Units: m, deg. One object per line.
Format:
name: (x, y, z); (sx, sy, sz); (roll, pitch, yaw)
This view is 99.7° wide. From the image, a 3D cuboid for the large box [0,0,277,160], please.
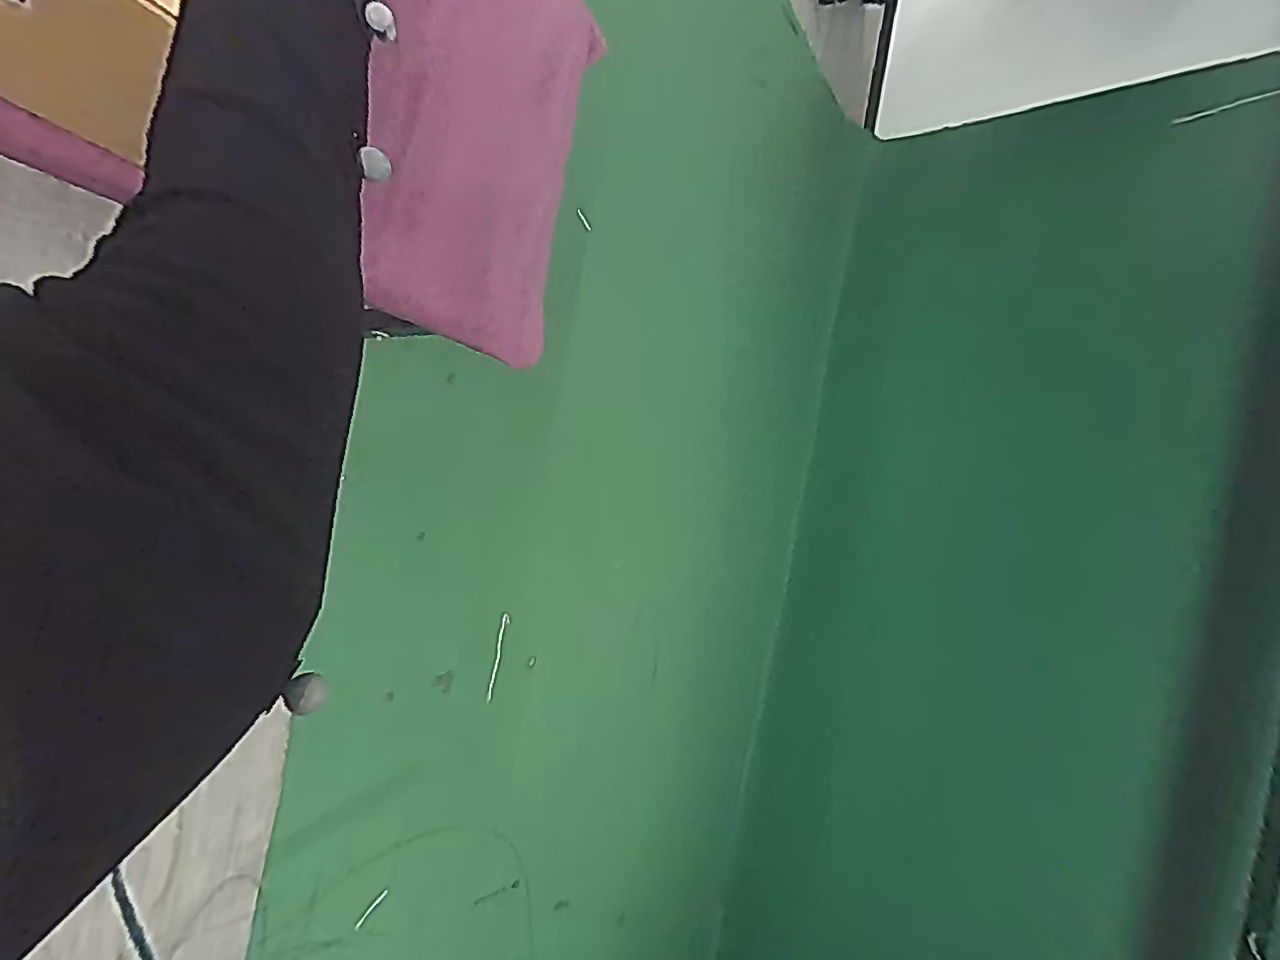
large box: (-0.448, -0.533, 0.377); (0.320, 0.320, 0.408); (17, 85, -52)
